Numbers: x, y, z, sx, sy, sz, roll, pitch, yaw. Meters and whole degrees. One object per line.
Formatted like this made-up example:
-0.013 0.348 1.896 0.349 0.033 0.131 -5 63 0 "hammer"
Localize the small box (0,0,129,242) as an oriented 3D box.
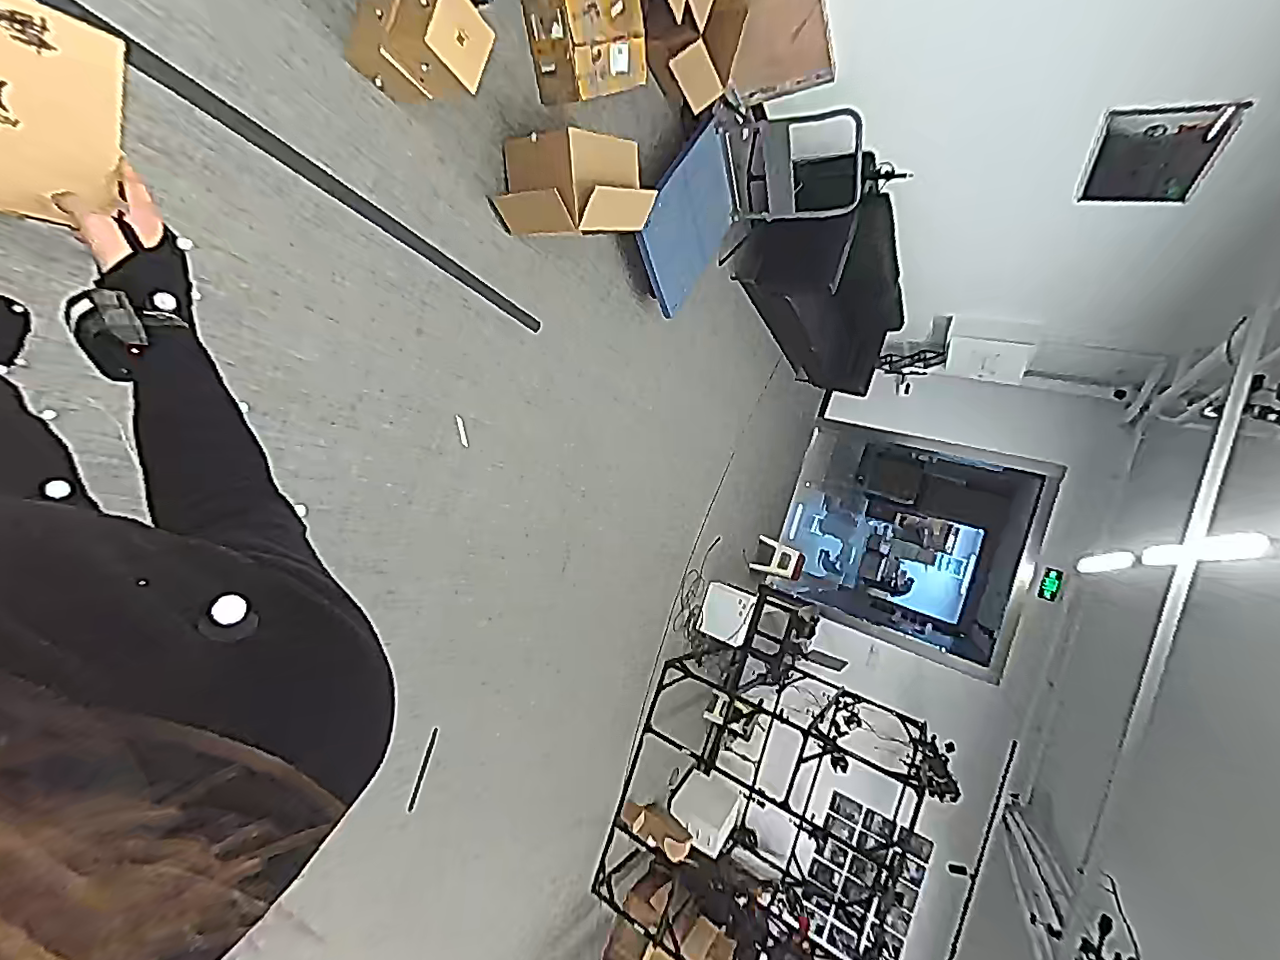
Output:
-0.598 -0.351 0.495 0.168 0.176 0.179 -2 121 -51 "small box"
